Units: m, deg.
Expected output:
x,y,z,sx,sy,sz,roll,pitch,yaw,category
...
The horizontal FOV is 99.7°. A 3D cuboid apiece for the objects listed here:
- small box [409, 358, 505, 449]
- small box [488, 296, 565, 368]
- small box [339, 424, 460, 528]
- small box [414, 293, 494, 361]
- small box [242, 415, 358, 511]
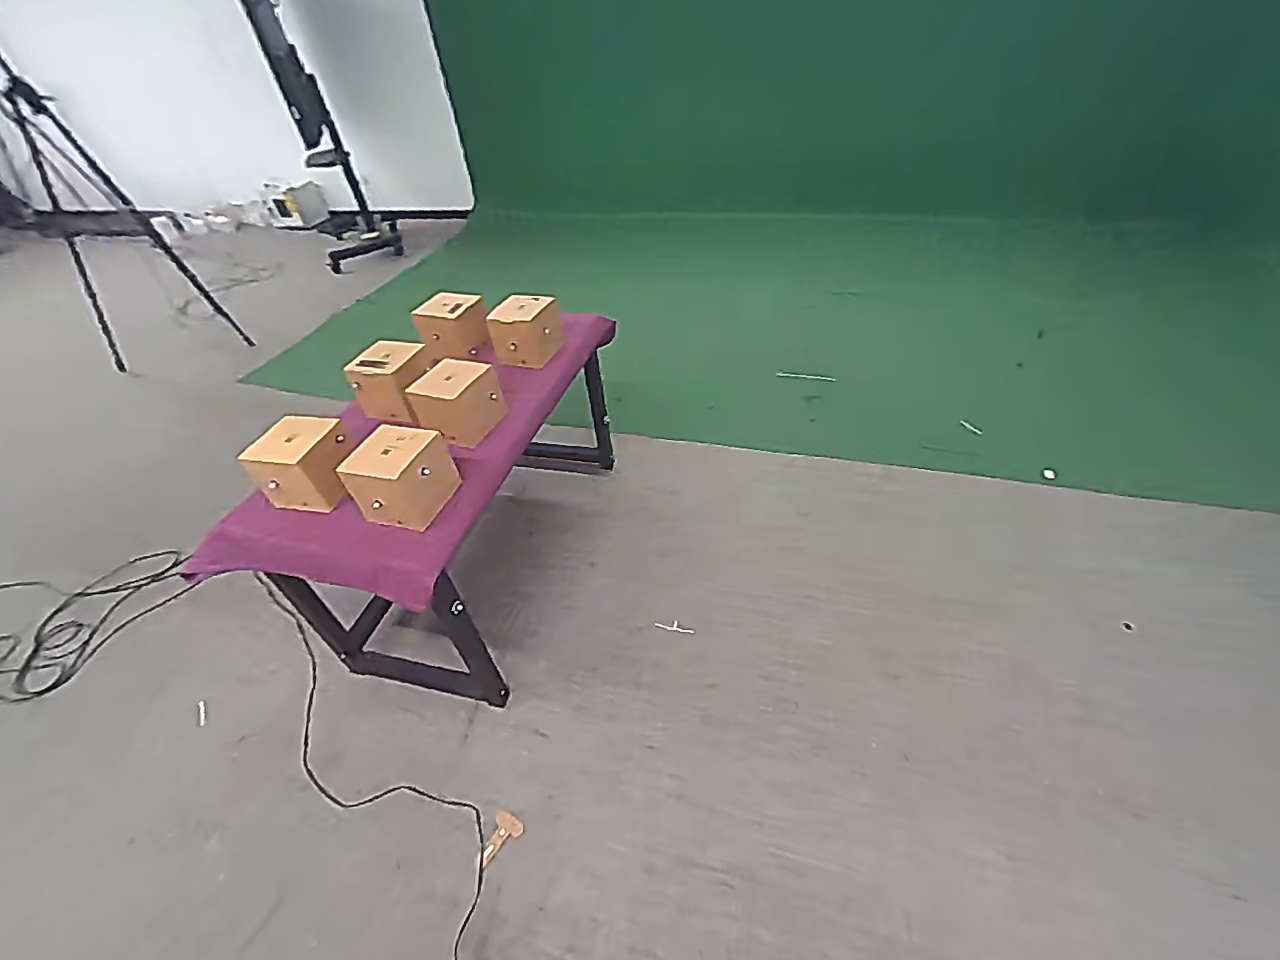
x,y,z,sx,sy,sz,roll,pitch,yaw,category
-0.496,-0.215,1.503,0.168,0.176,0.179,13,47,22,small box
-0.365,-0.487,1.780,0.168,0.176,0.179,11,46,19,small box
-0.555,-0.008,1.280,0.168,0.176,0.179,8,44,17,small box
-0.626,-0.519,1.848,0.179,0.176,0.168,12,46,20,small box
-0.827,-0.042,1.356,0.168,0.176,0.179,5,43,12,small box
